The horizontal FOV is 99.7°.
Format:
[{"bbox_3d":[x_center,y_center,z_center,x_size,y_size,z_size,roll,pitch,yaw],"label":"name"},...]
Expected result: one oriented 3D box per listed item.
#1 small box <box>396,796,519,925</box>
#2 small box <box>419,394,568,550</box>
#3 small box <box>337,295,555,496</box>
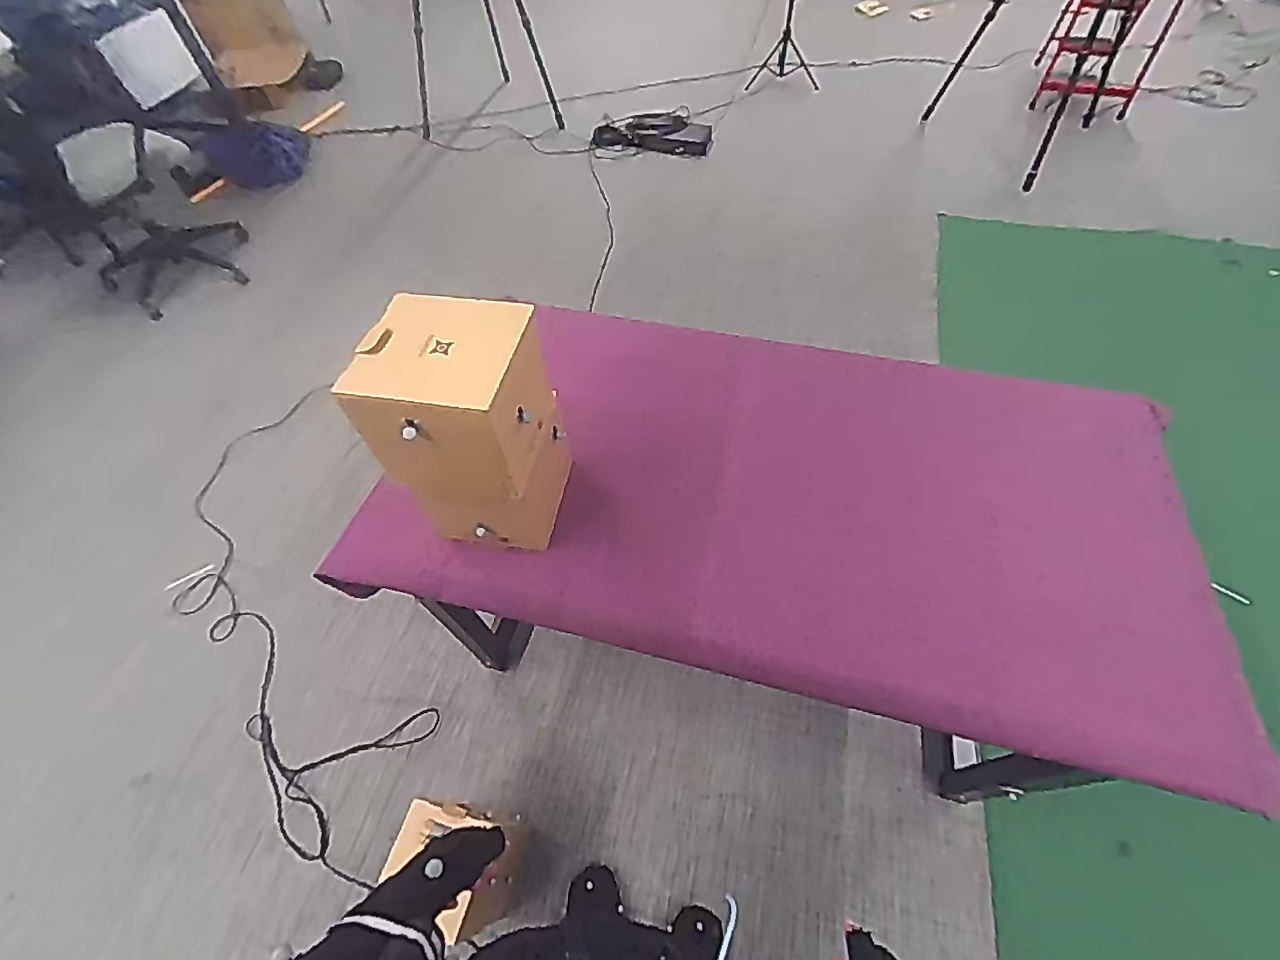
[{"bbox_3d":[-0.370,0.792,1.139,0.168,0.176,0.179,13,59,11],"label":"small box"},{"bbox_3d":[-0.210,-0.020,0.803,0.168,0.176,0.179,8,56,7],"label":"small box"},{"bbox_3d":[-0.214,-0.097,0.658,0.179,0.176,0.168,8,57,7],"label":"small box"}]
